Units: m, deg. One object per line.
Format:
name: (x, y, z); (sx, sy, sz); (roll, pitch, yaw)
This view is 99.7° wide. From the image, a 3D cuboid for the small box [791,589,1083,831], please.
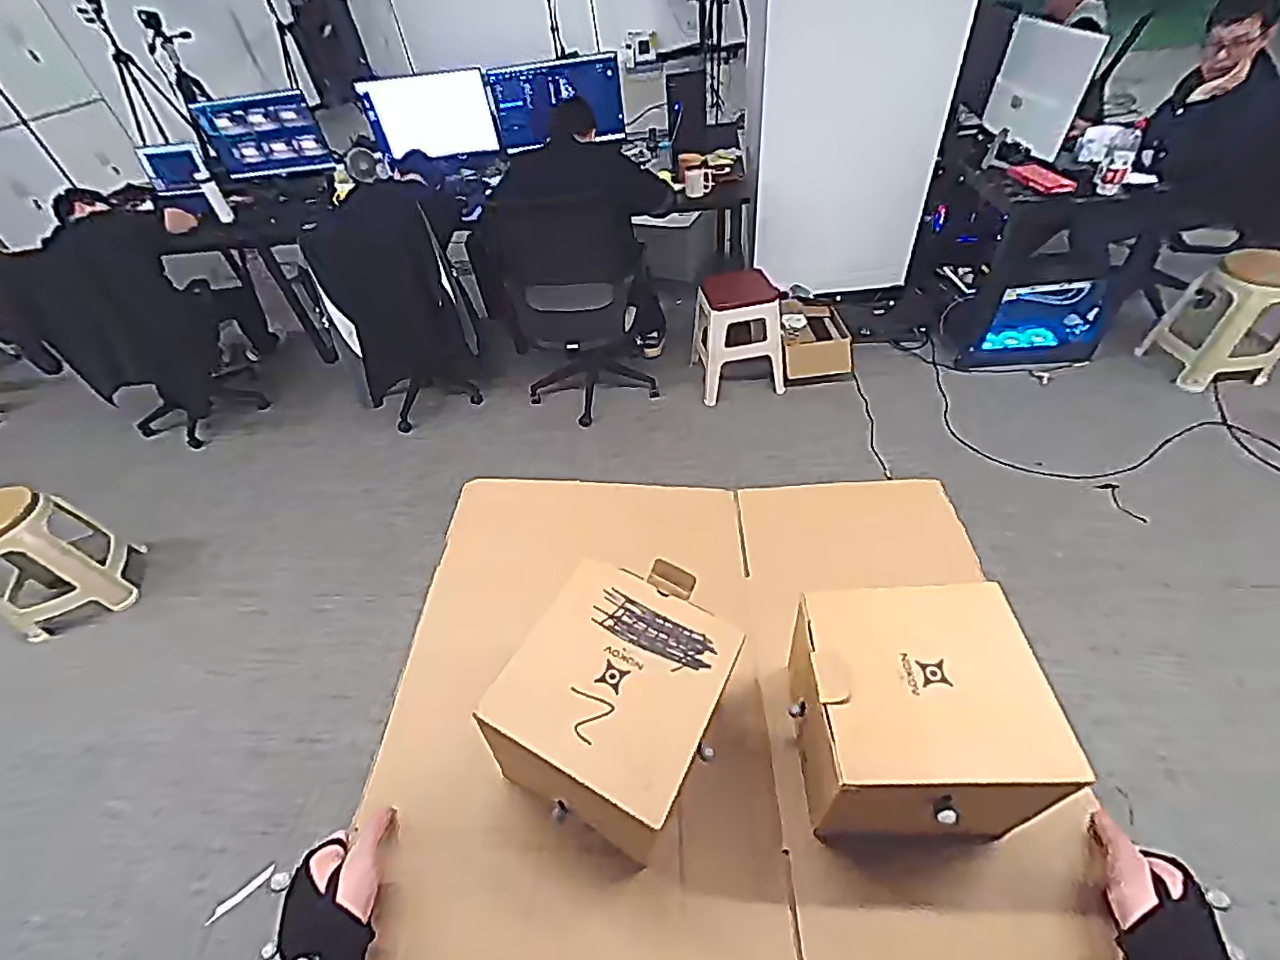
small box: (0.250, 0.219, 0.512); (0.179, 0.176, 0.168); (-4, 47, 6)
